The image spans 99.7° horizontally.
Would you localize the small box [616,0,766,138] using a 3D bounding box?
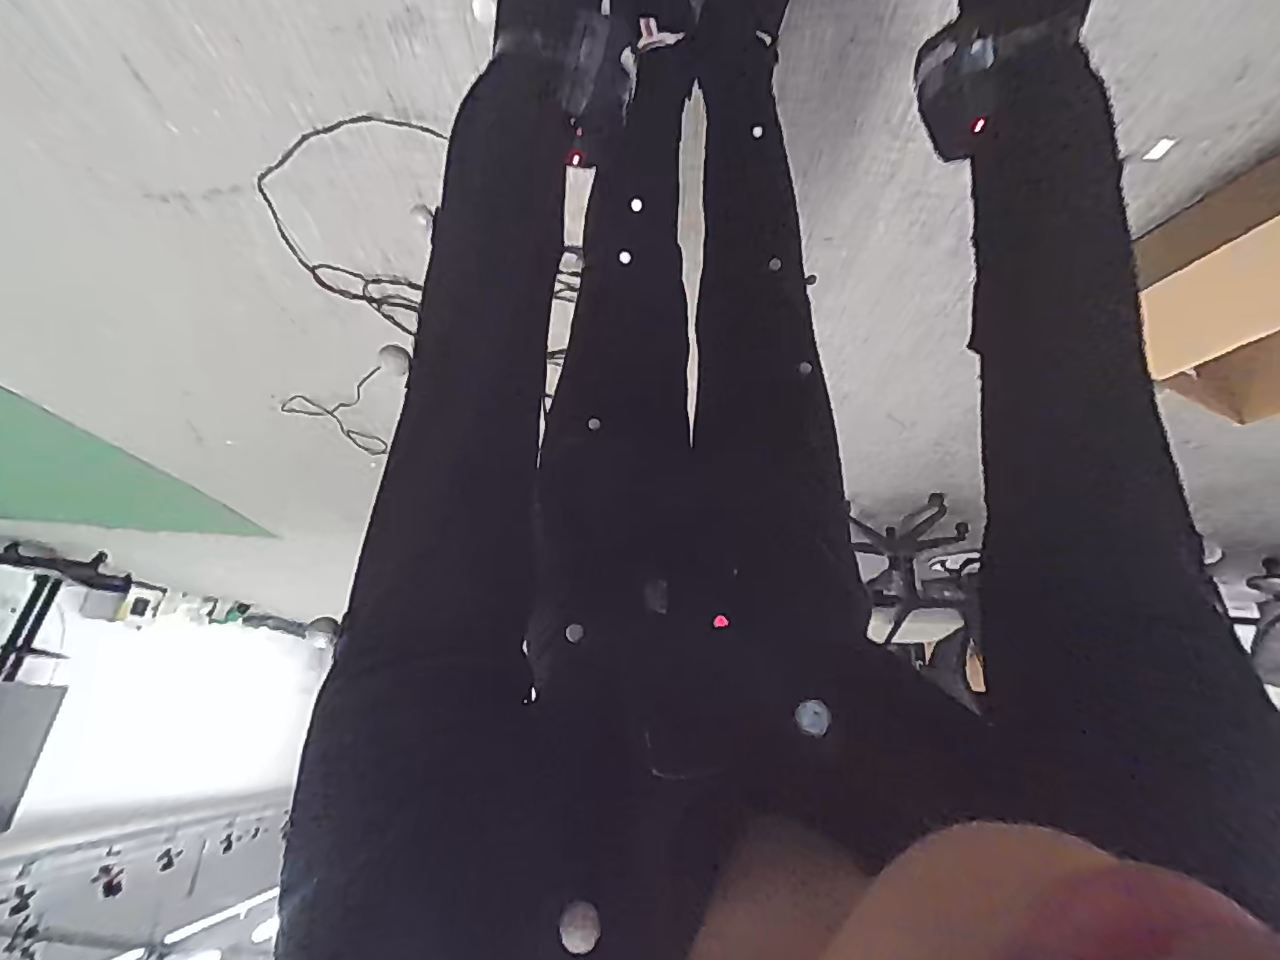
[{"bbox_3d":[0.058,-0.620,0.755,0.168,0.176,0.179,-4,160,-8],"label":"small box"}]
